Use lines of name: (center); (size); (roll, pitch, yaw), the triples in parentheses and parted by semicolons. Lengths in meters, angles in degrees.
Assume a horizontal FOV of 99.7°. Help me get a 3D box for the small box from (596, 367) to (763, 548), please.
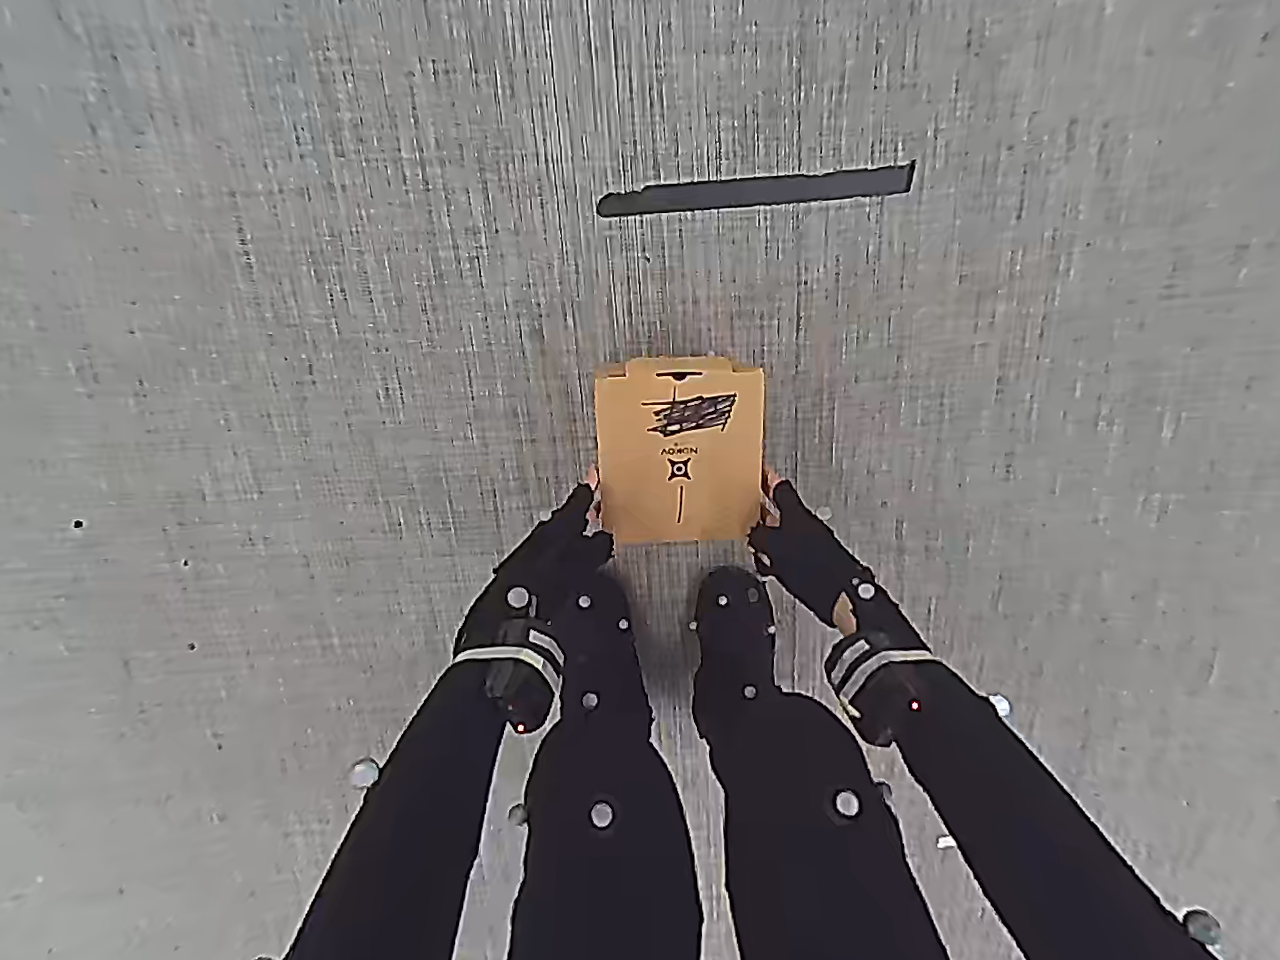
small box: (0.037, -0.037, 0.618); (0.168, 0.176, 0.179); (-2, 106, -1)
